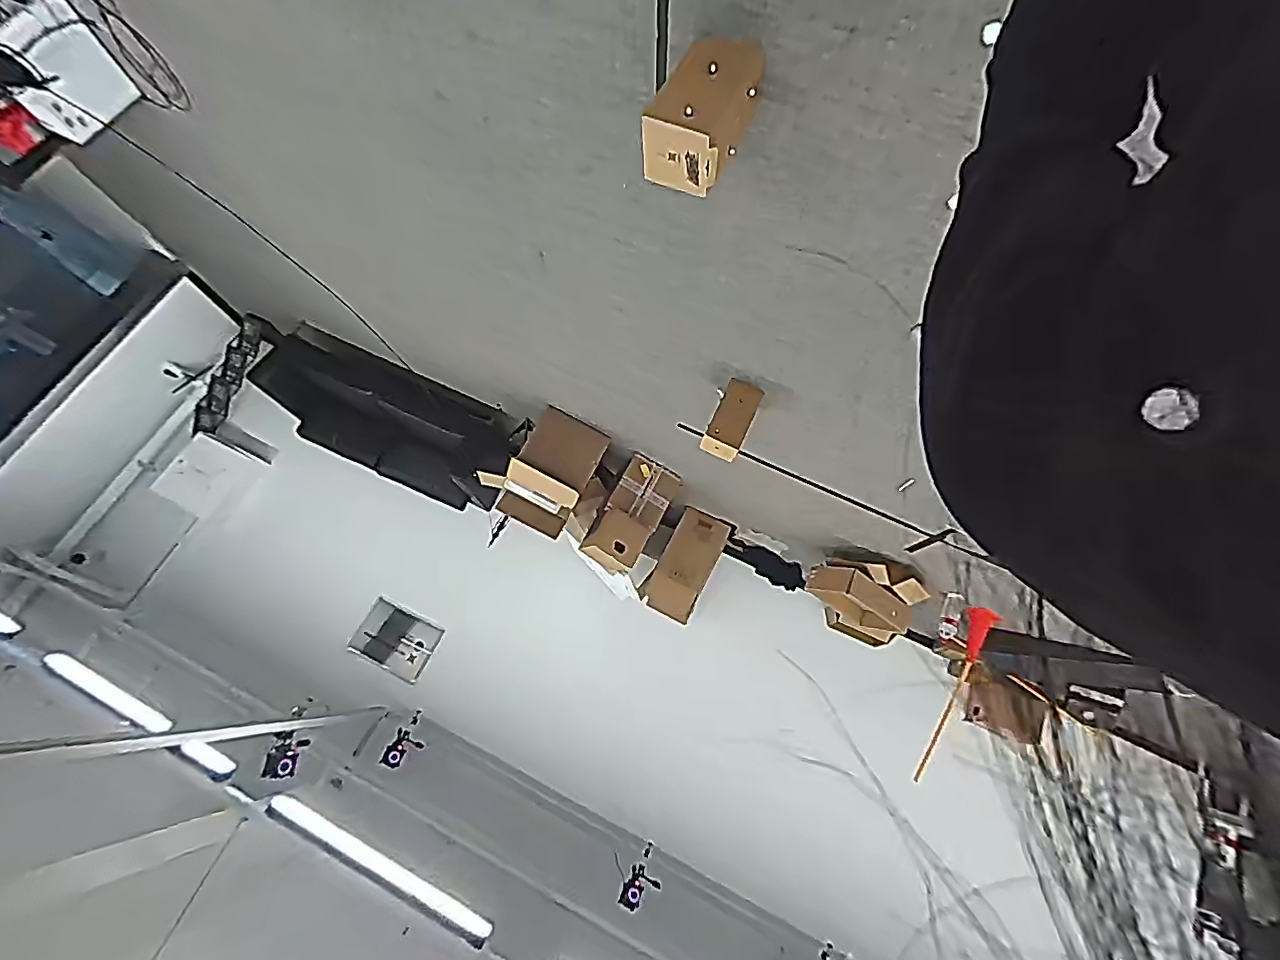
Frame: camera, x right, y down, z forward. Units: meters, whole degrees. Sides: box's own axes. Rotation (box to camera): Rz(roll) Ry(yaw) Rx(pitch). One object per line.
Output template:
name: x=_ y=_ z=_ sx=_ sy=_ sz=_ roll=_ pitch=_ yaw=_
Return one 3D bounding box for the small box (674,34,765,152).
small box: x=0.198 y=-0.977 z=1.362 sx=0.179 sy=0.176 sz=0.168 roll=25 pitch=161 yaw=13

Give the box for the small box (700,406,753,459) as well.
small box: x=0.408 y=-0.229 z=2.558 sx=0.179 sy=0.176 sz=0.168 roll=25 pitch=163 yaw=5

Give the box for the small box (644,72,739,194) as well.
small box: x=0.125 y=-0.840 z=1.306 sx=0.179 sy=0.176 sz=0.168 roll=24 pitch=161 yaw=12
